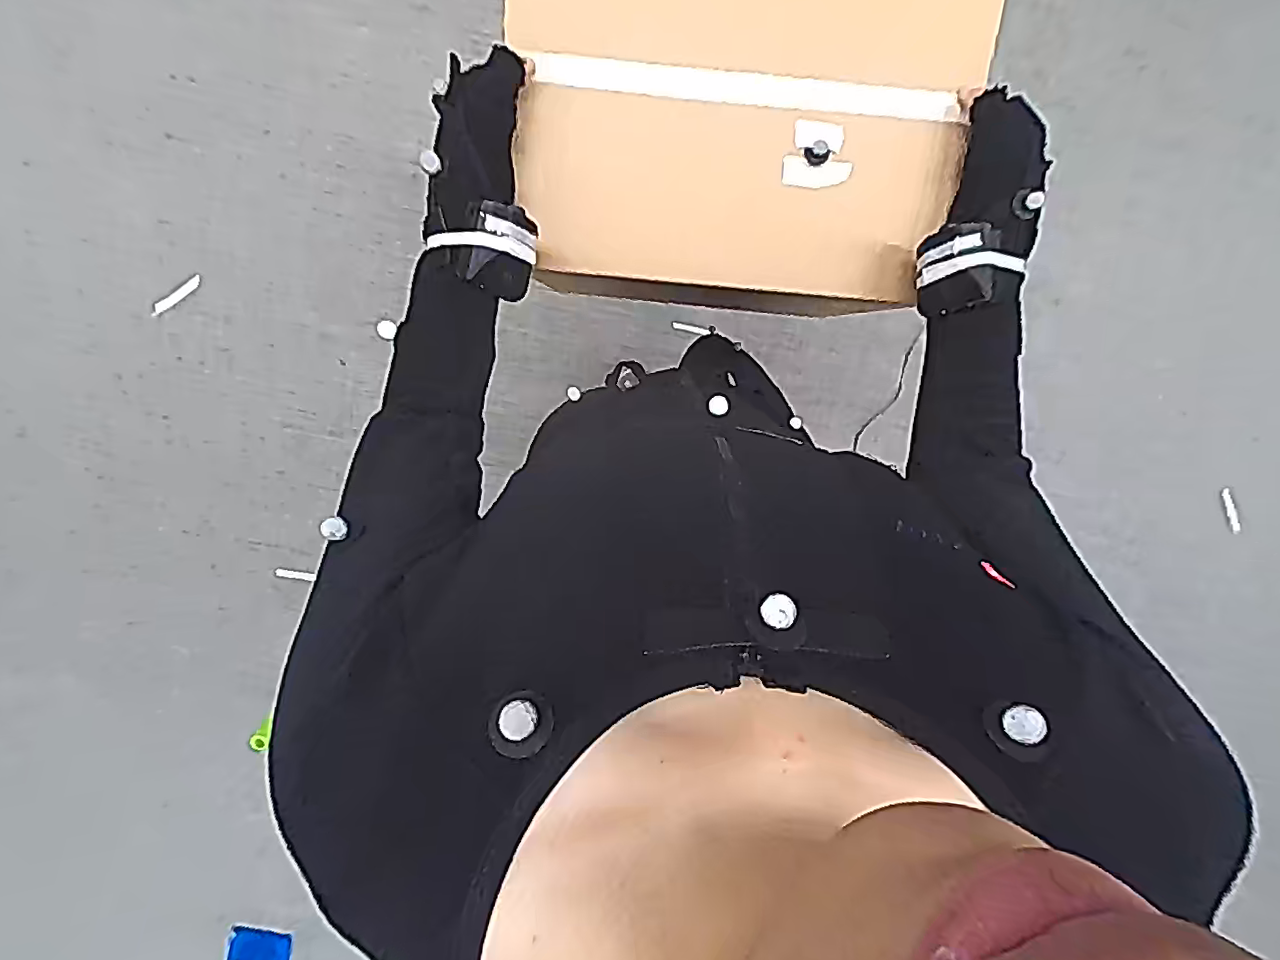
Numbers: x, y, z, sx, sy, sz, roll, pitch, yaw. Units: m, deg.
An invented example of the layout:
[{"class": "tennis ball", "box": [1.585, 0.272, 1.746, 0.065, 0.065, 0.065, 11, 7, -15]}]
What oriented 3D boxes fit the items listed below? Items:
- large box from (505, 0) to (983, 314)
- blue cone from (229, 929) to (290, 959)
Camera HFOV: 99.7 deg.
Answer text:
[{"class": "large box", "box": [0.078, -0.366, 0.608, 0.408, 0.320, 0.320, 4, 104, -2]}, {"class": "blue cone", "box": [-1.257, 1.604, 1.622, 0.192, 0.380, 0.193, 15, 101, -3]}]
